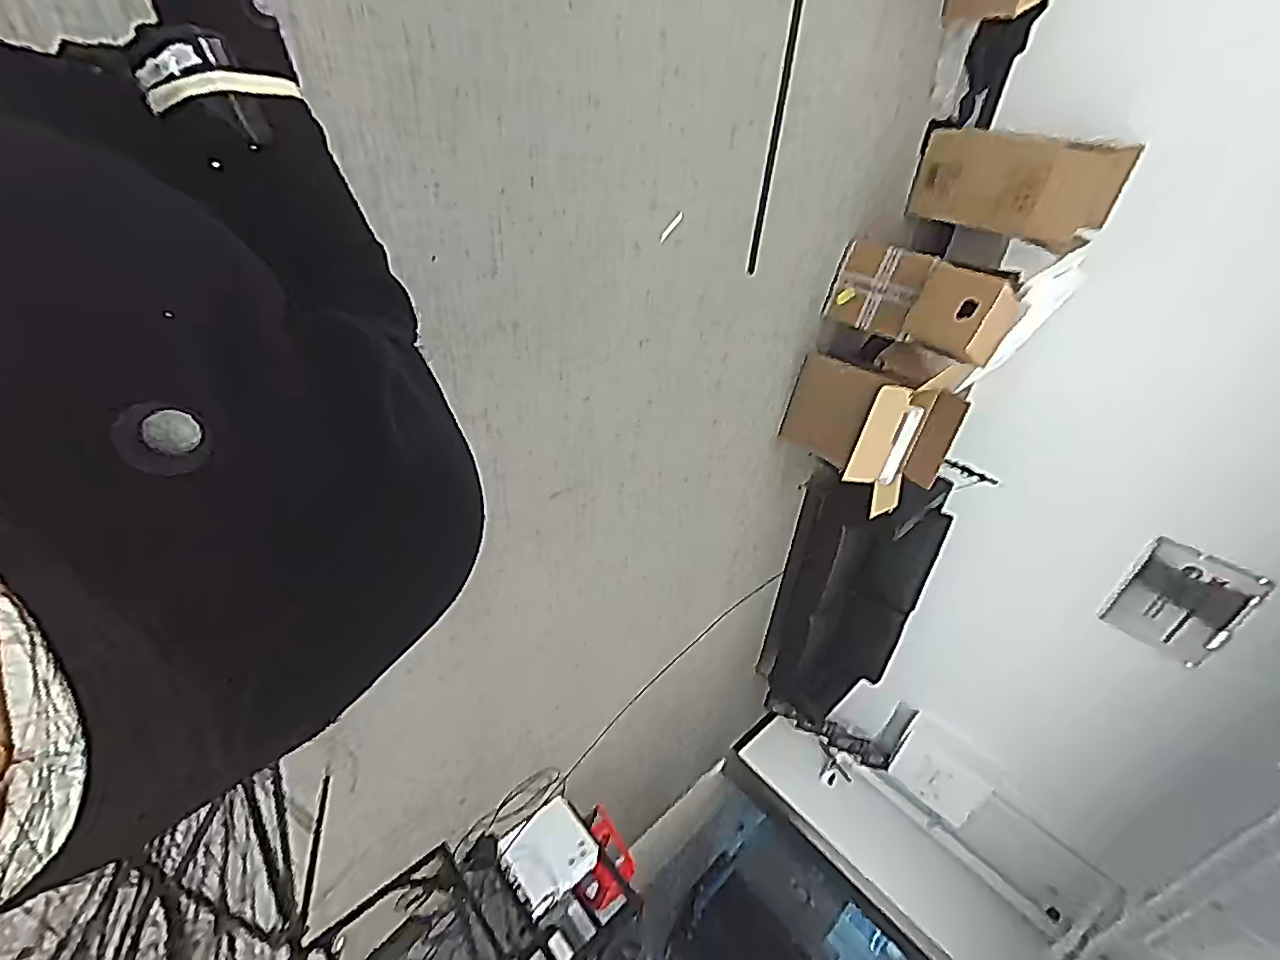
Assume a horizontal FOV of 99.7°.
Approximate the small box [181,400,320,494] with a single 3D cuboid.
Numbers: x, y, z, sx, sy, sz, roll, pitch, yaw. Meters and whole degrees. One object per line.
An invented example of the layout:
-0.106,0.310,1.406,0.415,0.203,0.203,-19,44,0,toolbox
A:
-0.714,-0.039,1.006,0.179,0.176,0.168,-17,127,-41,small box
